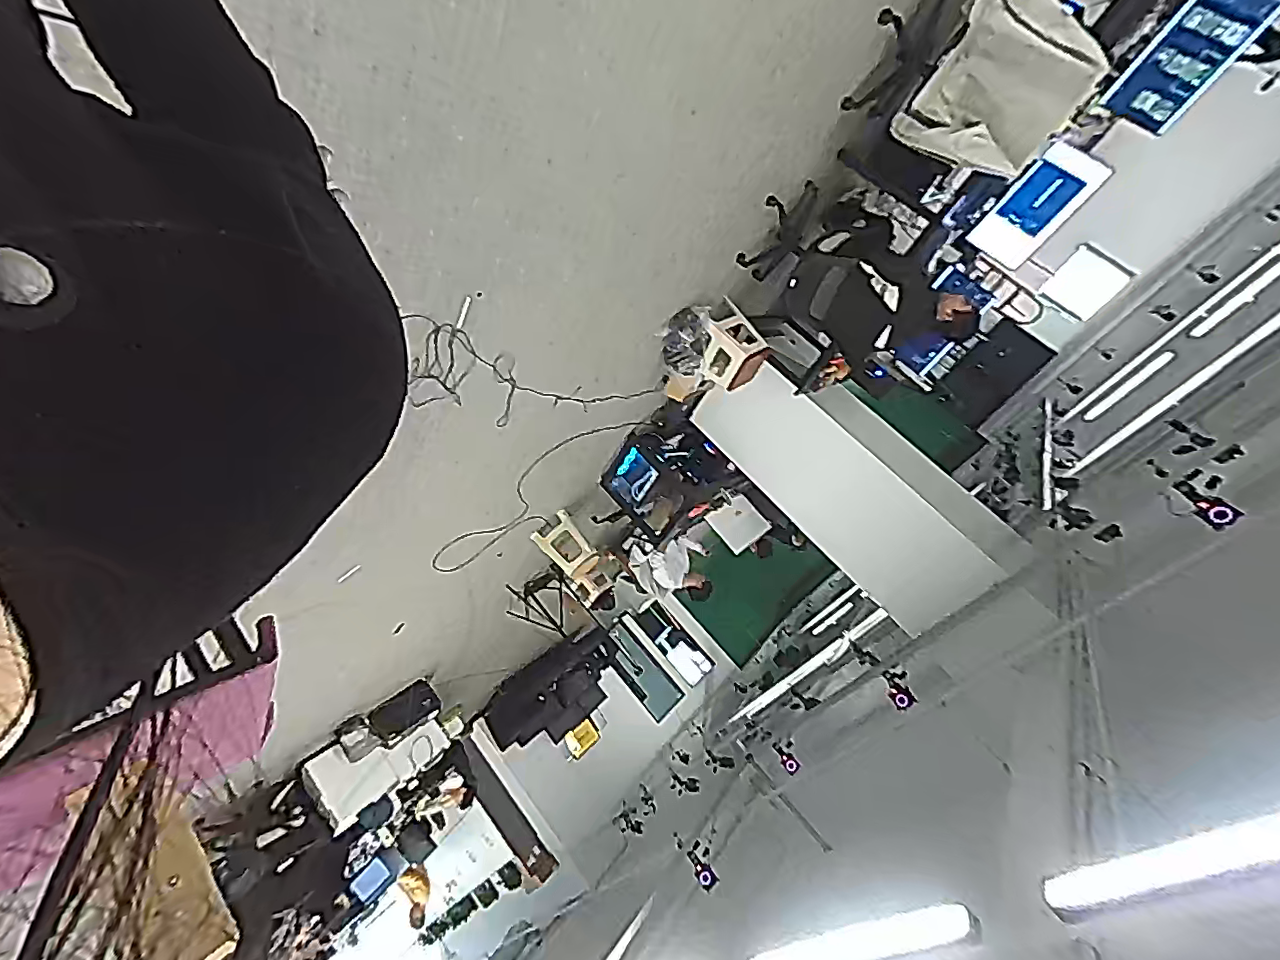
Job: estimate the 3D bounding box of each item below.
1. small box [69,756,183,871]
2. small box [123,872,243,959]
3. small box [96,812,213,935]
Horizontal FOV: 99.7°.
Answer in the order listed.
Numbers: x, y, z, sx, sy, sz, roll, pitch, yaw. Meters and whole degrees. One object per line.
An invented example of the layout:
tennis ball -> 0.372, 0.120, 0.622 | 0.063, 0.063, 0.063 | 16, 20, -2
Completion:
small box -> -1.274, 0.827, 1.344 | 0.168, 0.176, 0.179 | -23, 154, -52
small box -> -1.060, 1.060, 1.254 | 0.168, 0.176, 0.179 | -22, 153, -52
small box -> -1.168, 0.945, 1.303 | 0.168, 0.176, 0.179 | -23, 155, -52
